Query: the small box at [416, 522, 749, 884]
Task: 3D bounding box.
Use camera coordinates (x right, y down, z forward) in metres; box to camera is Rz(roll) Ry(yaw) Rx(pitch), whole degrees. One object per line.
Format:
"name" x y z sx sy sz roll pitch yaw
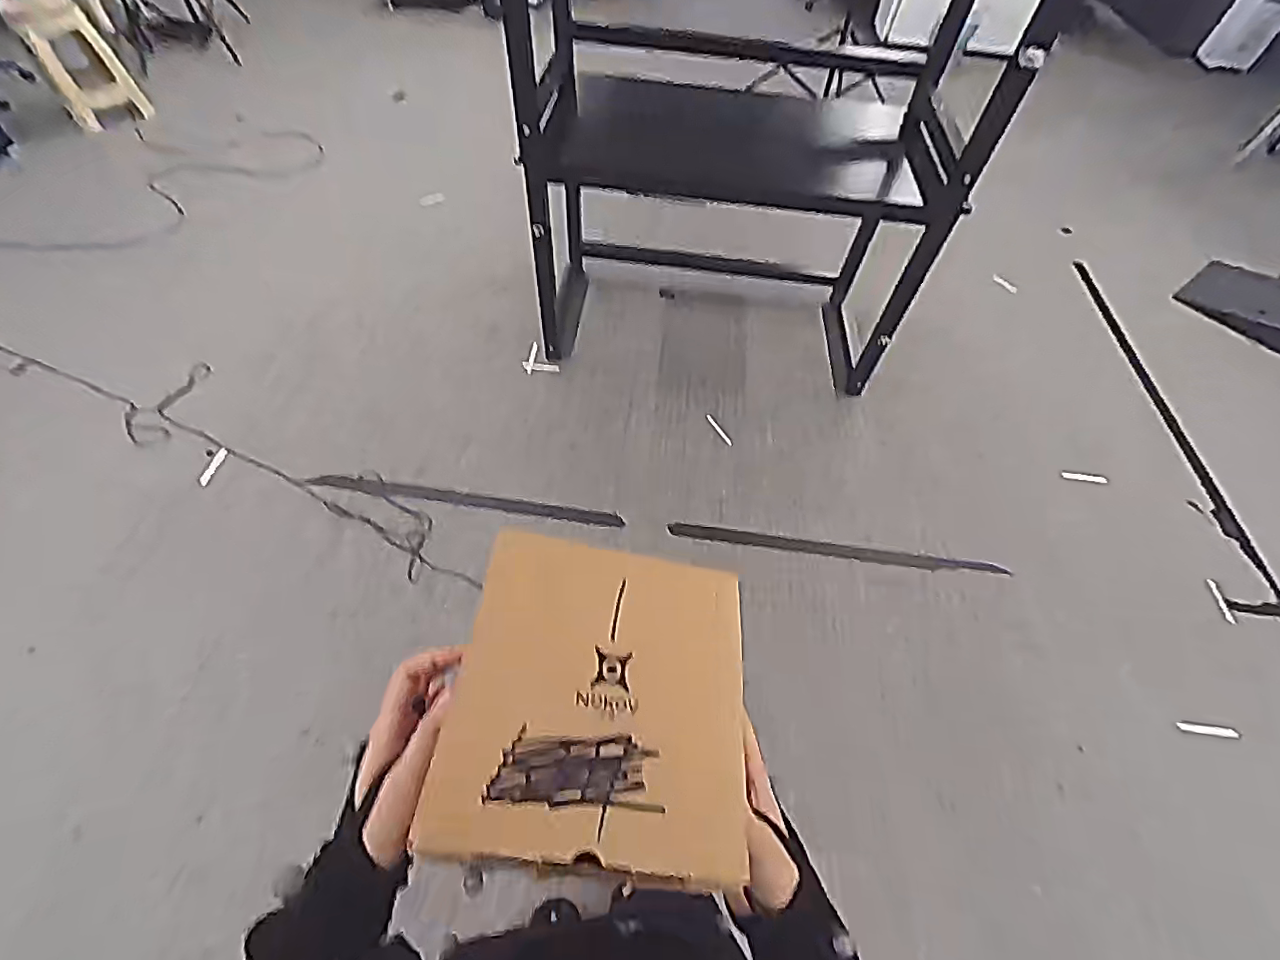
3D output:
"small box" -0.035 0.158 0.370 0.168 0.176 0.179 13 52 -8
